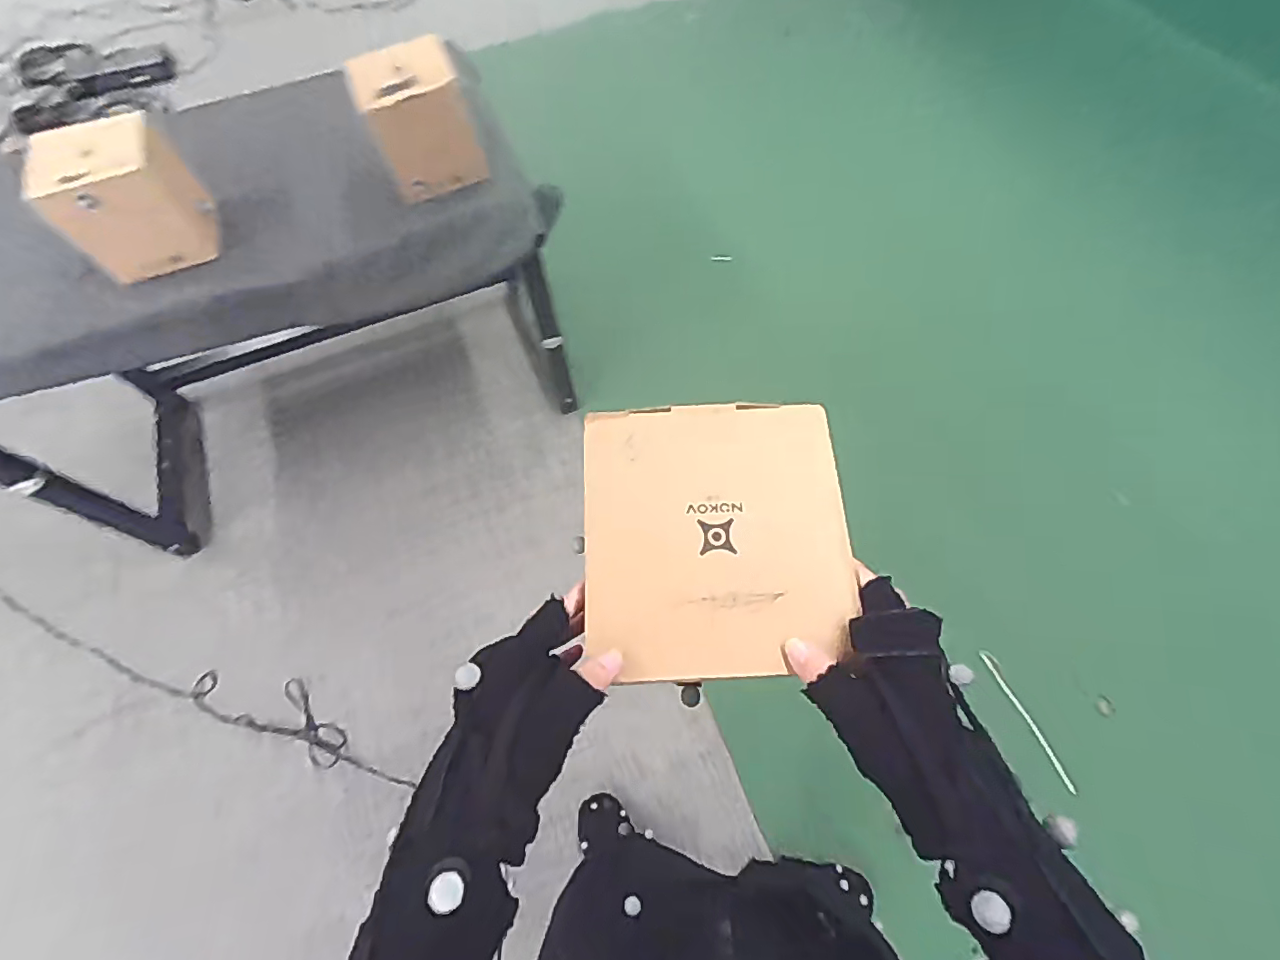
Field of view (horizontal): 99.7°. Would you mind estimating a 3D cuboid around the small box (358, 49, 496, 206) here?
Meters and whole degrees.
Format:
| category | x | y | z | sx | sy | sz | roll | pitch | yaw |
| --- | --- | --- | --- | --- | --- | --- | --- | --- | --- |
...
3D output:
| category | x | y | z | sx | sy | sz | roll | pitch | yaw |
| --- | --- | --- | --- | --- | --- | --- | --- | --- | --- |
| small box | -0.381 | -0.632 | 0.988 | 0.168 | 0.176 | 0.179 | -22 | 62 | -6 |
